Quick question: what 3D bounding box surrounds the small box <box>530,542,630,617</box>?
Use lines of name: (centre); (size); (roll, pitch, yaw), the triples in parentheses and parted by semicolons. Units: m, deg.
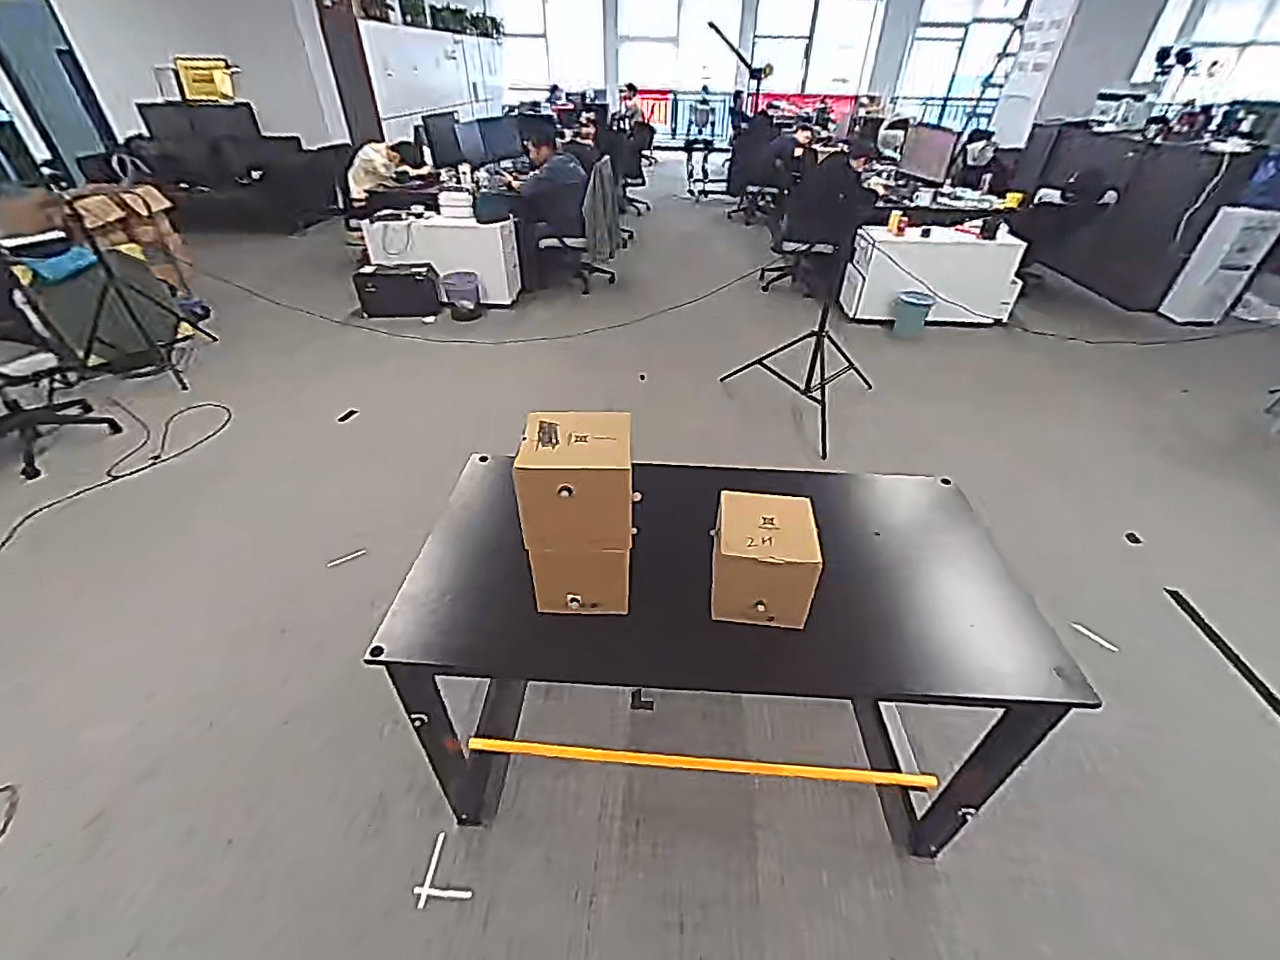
small box: (-0.103, 0.134, 1.011); (0.168, 0.176, 0.179); (-1, 38, 0)

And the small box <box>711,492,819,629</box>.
small box: (0.220, 0.146, 0.999); (0.168, 0.176, 0.179); (5, 37, 6)

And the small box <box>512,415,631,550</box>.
small box: (-0.104, 0.005, 0.908); (0.179, 0.176, 0.168); (0, 37, -1)
